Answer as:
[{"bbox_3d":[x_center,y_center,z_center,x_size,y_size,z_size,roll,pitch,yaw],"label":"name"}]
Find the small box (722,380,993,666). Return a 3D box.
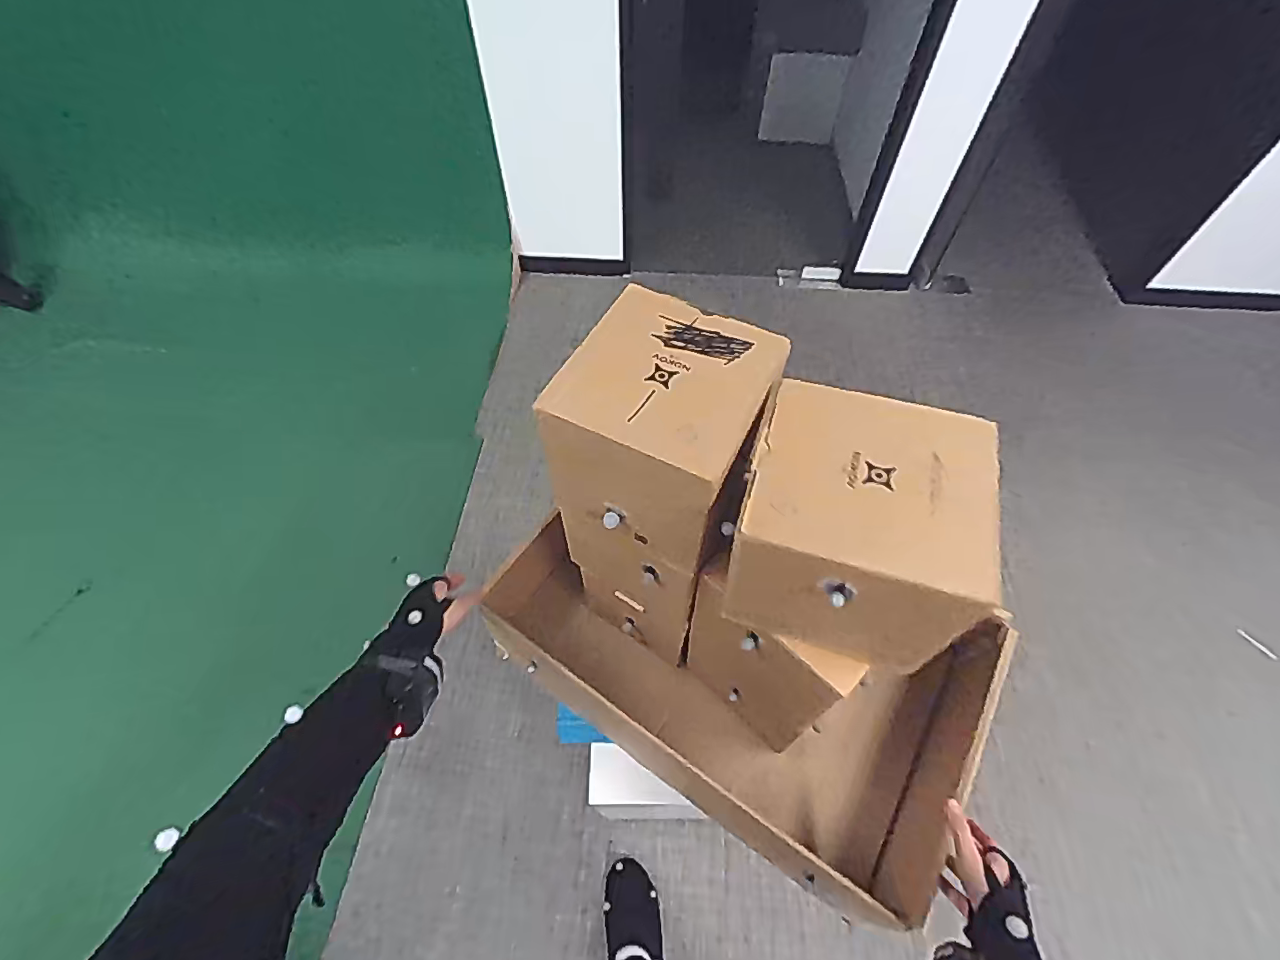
[{"bbox_3d":[0.178,0.042,0.476,0.179,0.176,0.168,15,57,14],"label":"small box"}]
